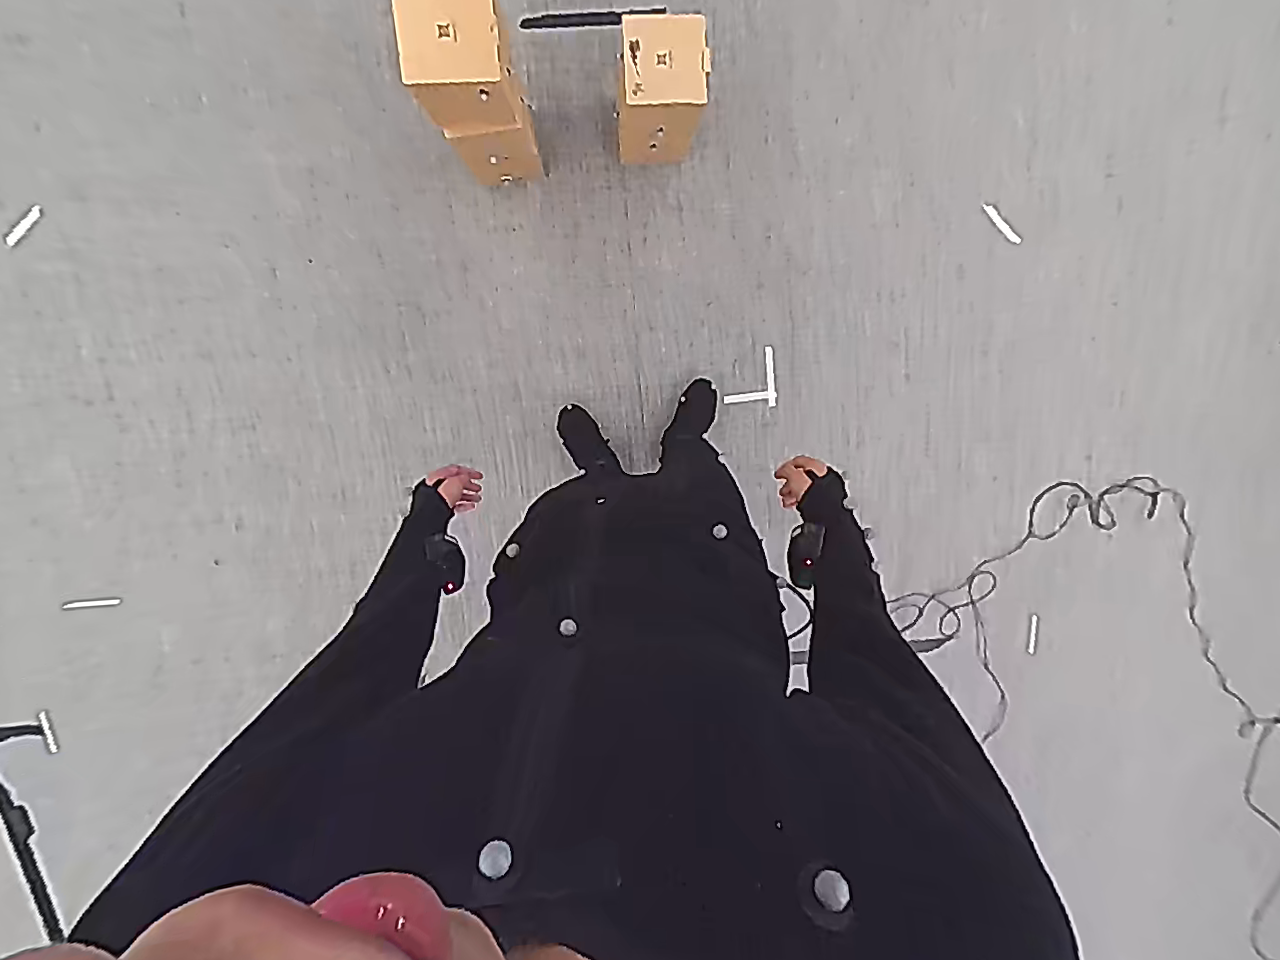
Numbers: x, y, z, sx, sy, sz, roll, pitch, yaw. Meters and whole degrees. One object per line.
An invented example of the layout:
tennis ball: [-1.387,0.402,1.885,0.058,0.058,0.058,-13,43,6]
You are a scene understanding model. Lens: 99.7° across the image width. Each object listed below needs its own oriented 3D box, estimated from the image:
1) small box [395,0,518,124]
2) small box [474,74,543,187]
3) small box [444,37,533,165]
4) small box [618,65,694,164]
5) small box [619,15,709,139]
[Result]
small box: [-0.337,-0.796,1.018,0.179,0.176,0.168,-4,102,-3]
small box: [-0.343,-0.857,1.339,0.168,0.176,0.179,-11,102,-2]
small box: [-0.337,-0.819,1.180,0.168,0.176,0.179,-9,103,-2]
small box: [0.034,-0.913,1.358,0.179,0.176,0.168,-4,102,-5]
small box: [0.047,-0.881,1.197,0.179,0.176,0.168,-3,101,-5]
